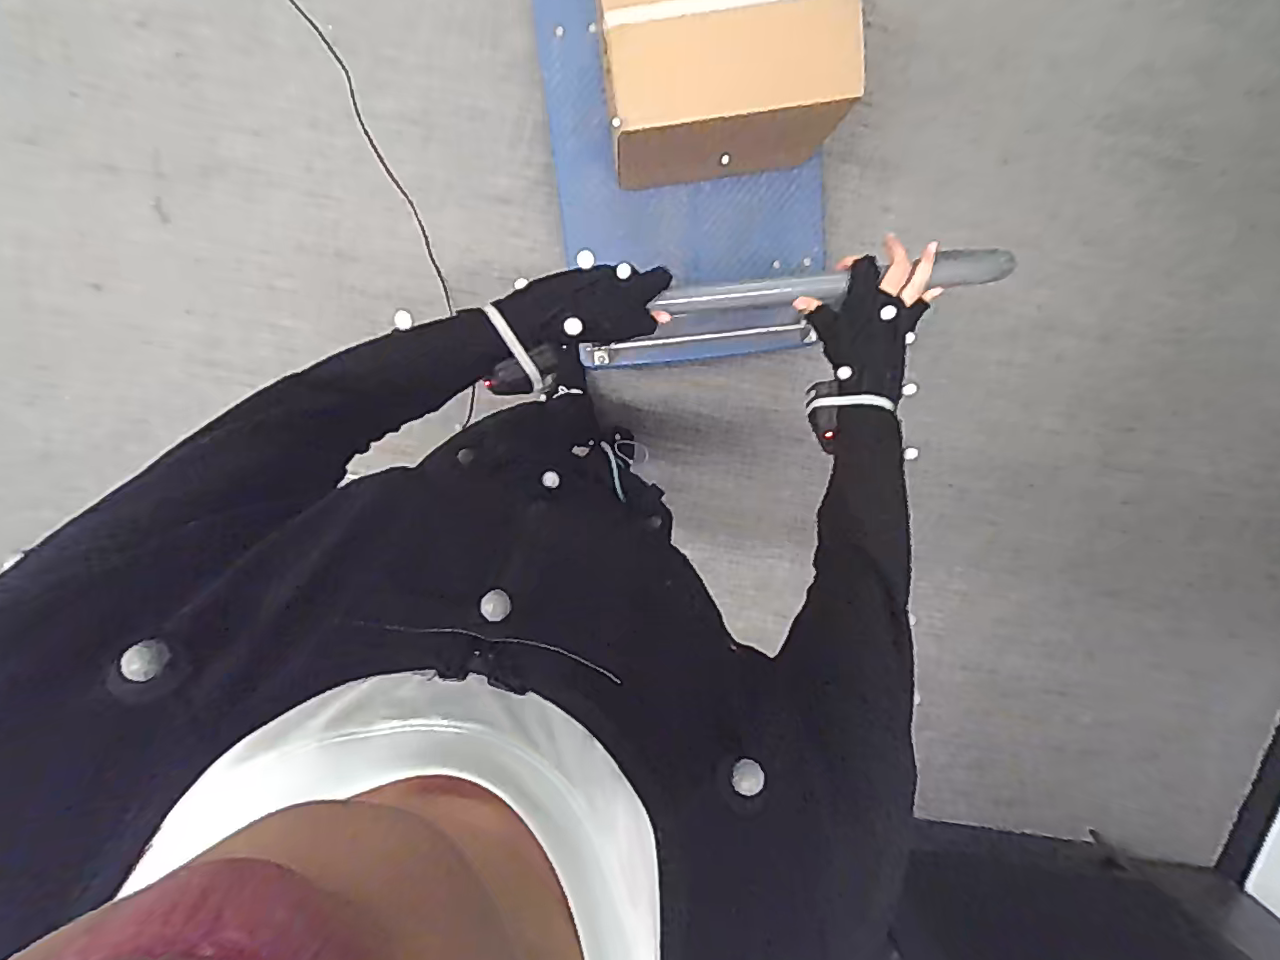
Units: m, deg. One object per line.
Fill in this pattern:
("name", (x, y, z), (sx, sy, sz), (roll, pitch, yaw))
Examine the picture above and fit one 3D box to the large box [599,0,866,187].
("large box", (0.147, -0.780, 0.996), (0.408, 0.320, 0.320), (-9, 102, 1))
